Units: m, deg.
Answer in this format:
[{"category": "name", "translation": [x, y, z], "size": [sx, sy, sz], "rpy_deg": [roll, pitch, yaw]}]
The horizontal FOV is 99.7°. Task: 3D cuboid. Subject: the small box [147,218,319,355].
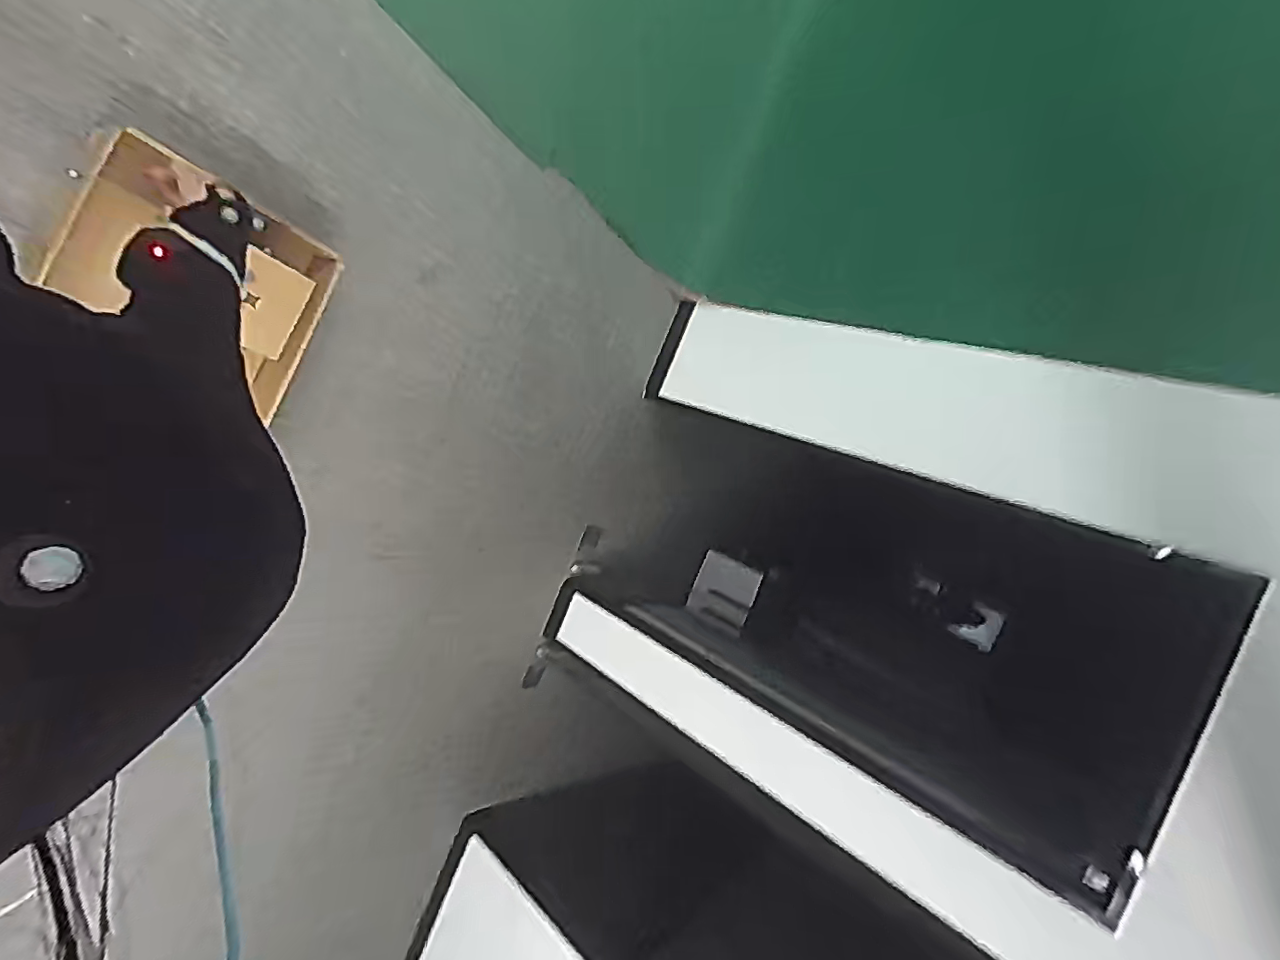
[{"category": "small box", "translation": [-0.733, -0.352, 0.975], "size": [0.179, 0.176, 0.168], "rpy_deg": [31, 83, -54]}]
